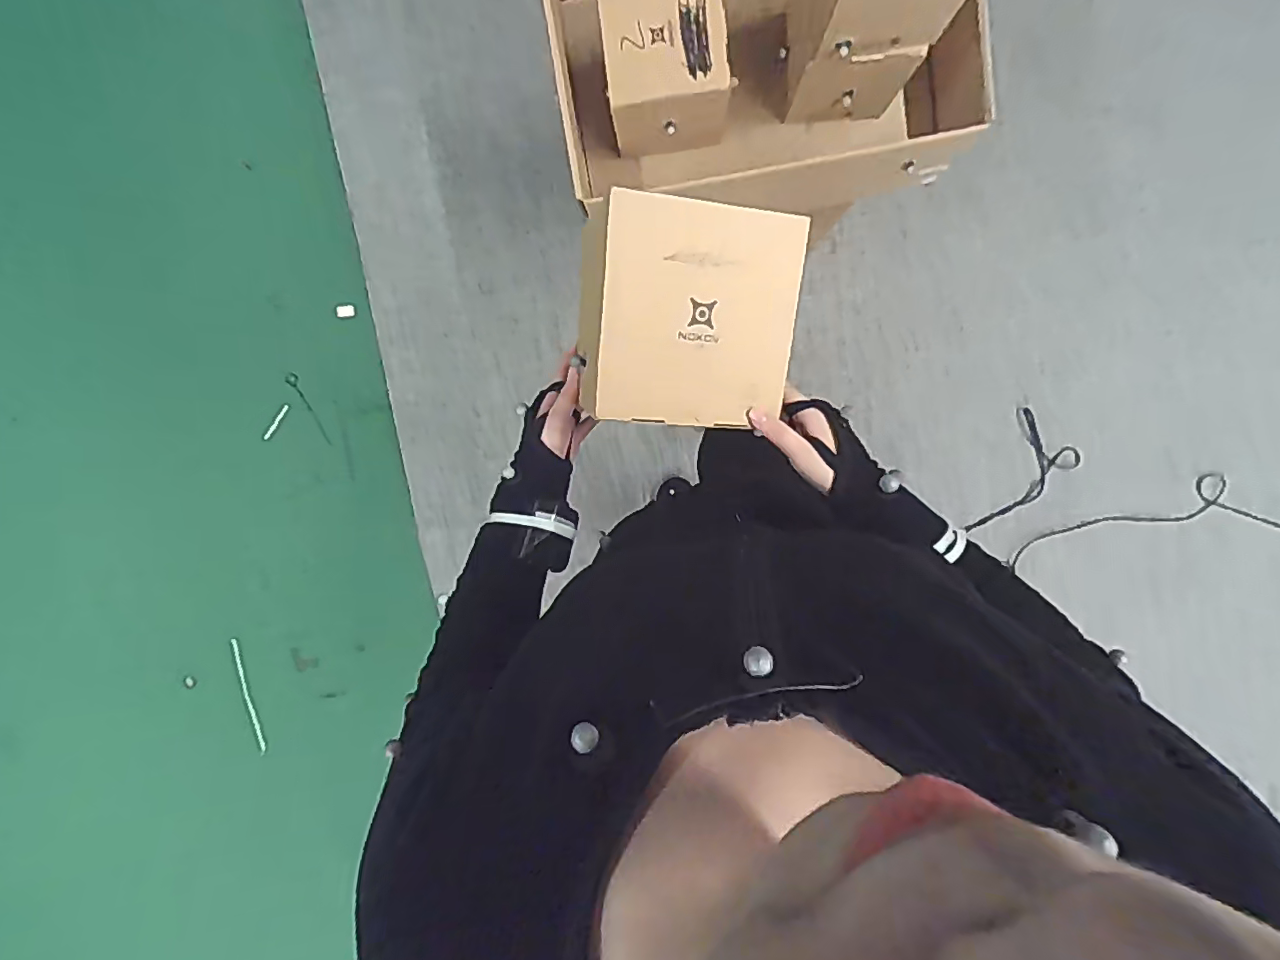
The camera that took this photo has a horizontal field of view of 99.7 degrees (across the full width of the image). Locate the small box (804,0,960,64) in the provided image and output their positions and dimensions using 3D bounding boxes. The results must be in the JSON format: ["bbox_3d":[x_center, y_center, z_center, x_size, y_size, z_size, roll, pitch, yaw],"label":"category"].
[{"bbox_3d":[0.304,-0.651,0.662,0.168,0.176,0.179,-6,96,4],"label":"small box"}]

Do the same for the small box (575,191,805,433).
[{"bbox_3d":[0.031,-0.148,0.518,0.168,0.176,0.179,3,102,-14],"label":"small box"}]
